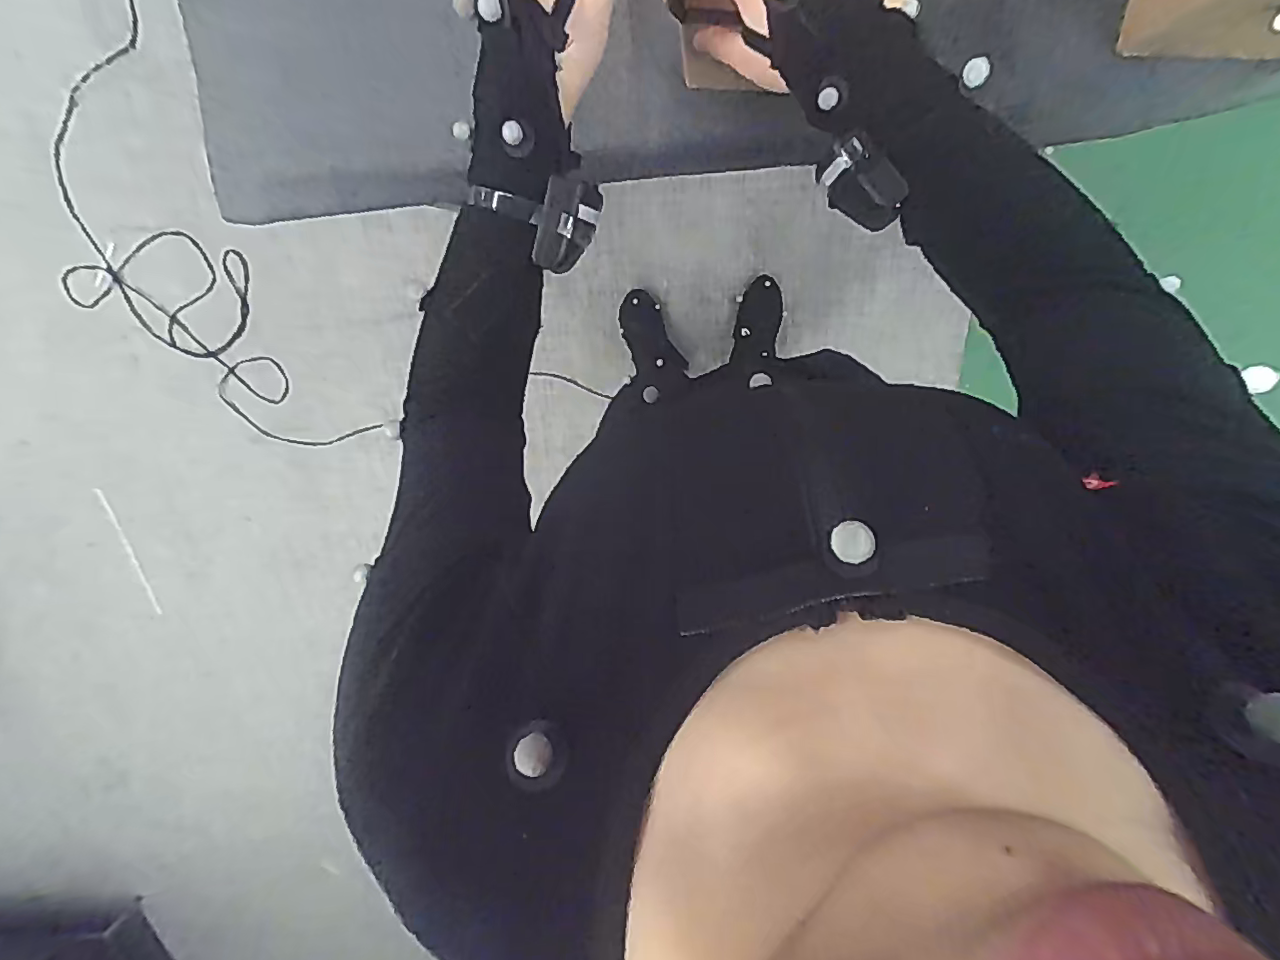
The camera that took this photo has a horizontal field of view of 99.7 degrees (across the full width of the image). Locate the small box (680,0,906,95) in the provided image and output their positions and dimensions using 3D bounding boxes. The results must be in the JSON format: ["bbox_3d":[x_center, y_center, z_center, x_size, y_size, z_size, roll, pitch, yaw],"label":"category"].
[{"bbox_3d":[0.134,-0.461,0.476,0.179,0.176,0.168,6,113,5],"label":"small box"}]

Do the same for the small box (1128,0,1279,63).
[{"bbox_3d":[0.567,-0.470,0.442,0.179,0.176,0.168,4,109,4],"label":"small box"}]
